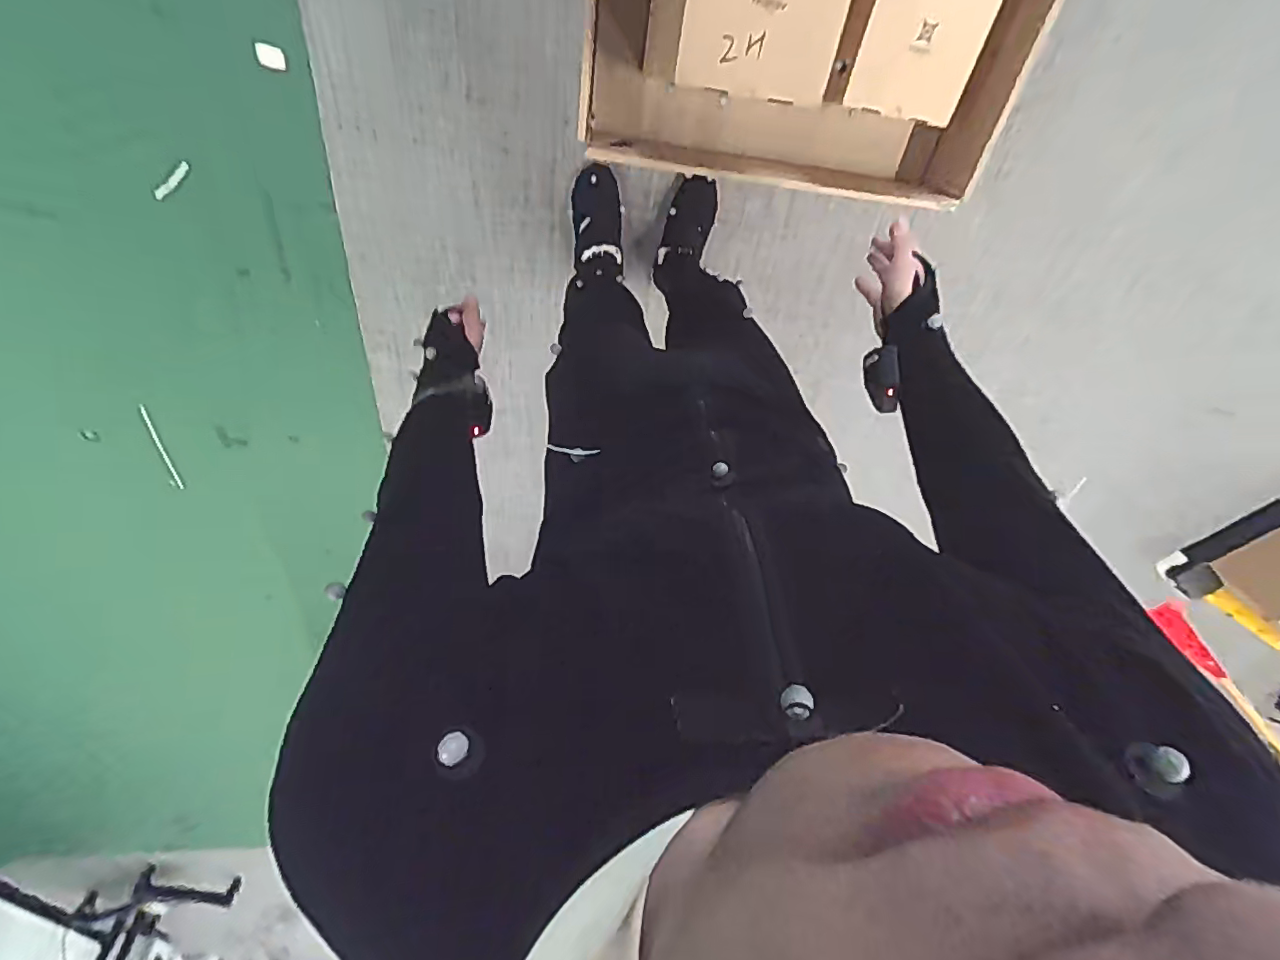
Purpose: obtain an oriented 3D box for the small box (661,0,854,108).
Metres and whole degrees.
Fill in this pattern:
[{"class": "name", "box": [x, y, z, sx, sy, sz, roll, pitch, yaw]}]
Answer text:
[{"class": "small box", "box": [0.122, -0.525, 0.583, 0.168, 0.176, 0.179, 3, 128, -9]}]
